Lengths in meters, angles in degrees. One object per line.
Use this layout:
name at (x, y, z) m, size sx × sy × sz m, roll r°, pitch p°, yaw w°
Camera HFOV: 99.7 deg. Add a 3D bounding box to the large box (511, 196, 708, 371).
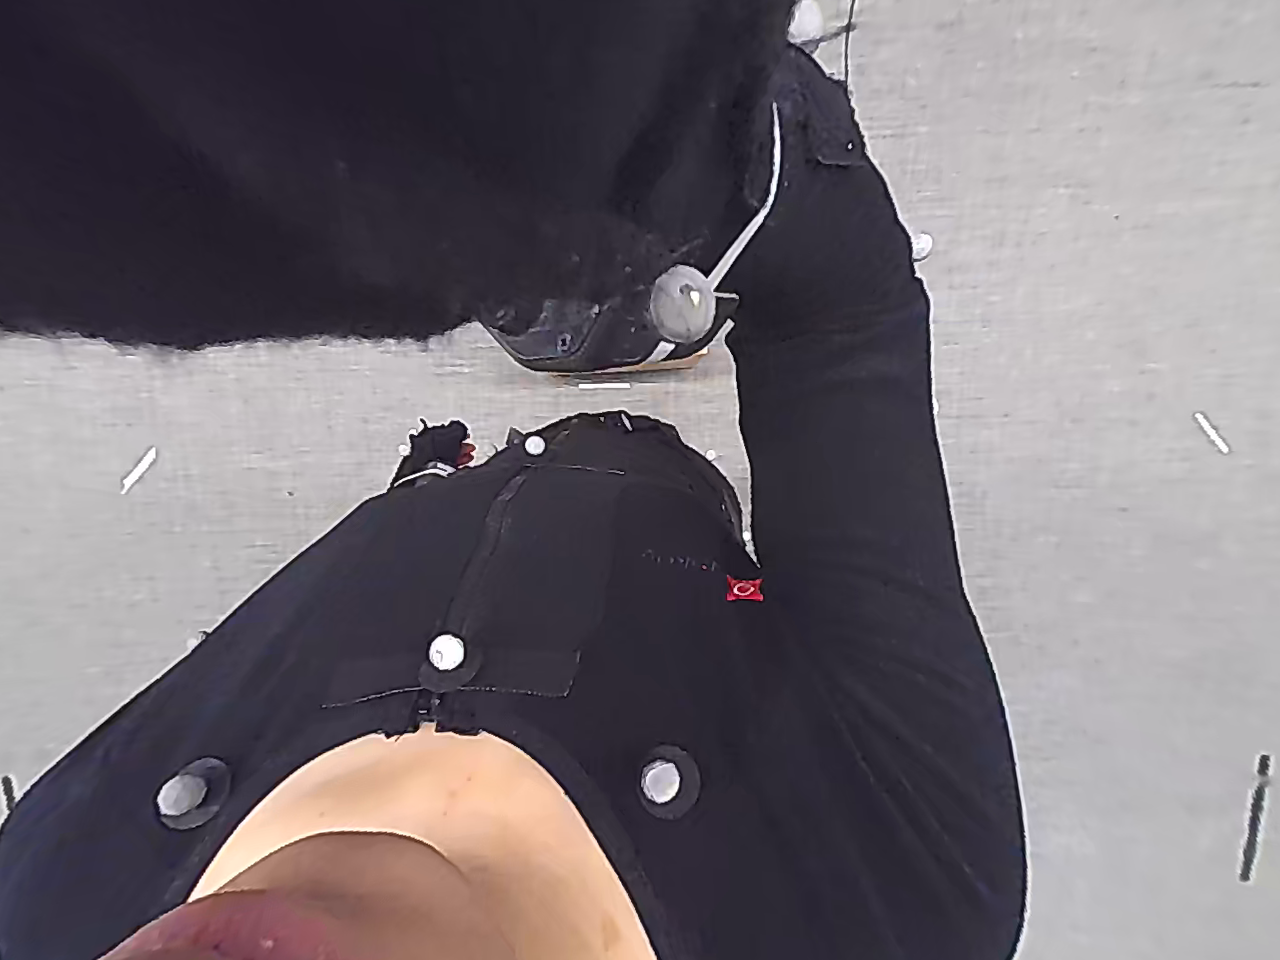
large box at (-0.063, -0.442, 1.292) m, size 0.408 × 0.320 × 0.320 m, roll -4°, pitch 98°, yaw 1°
